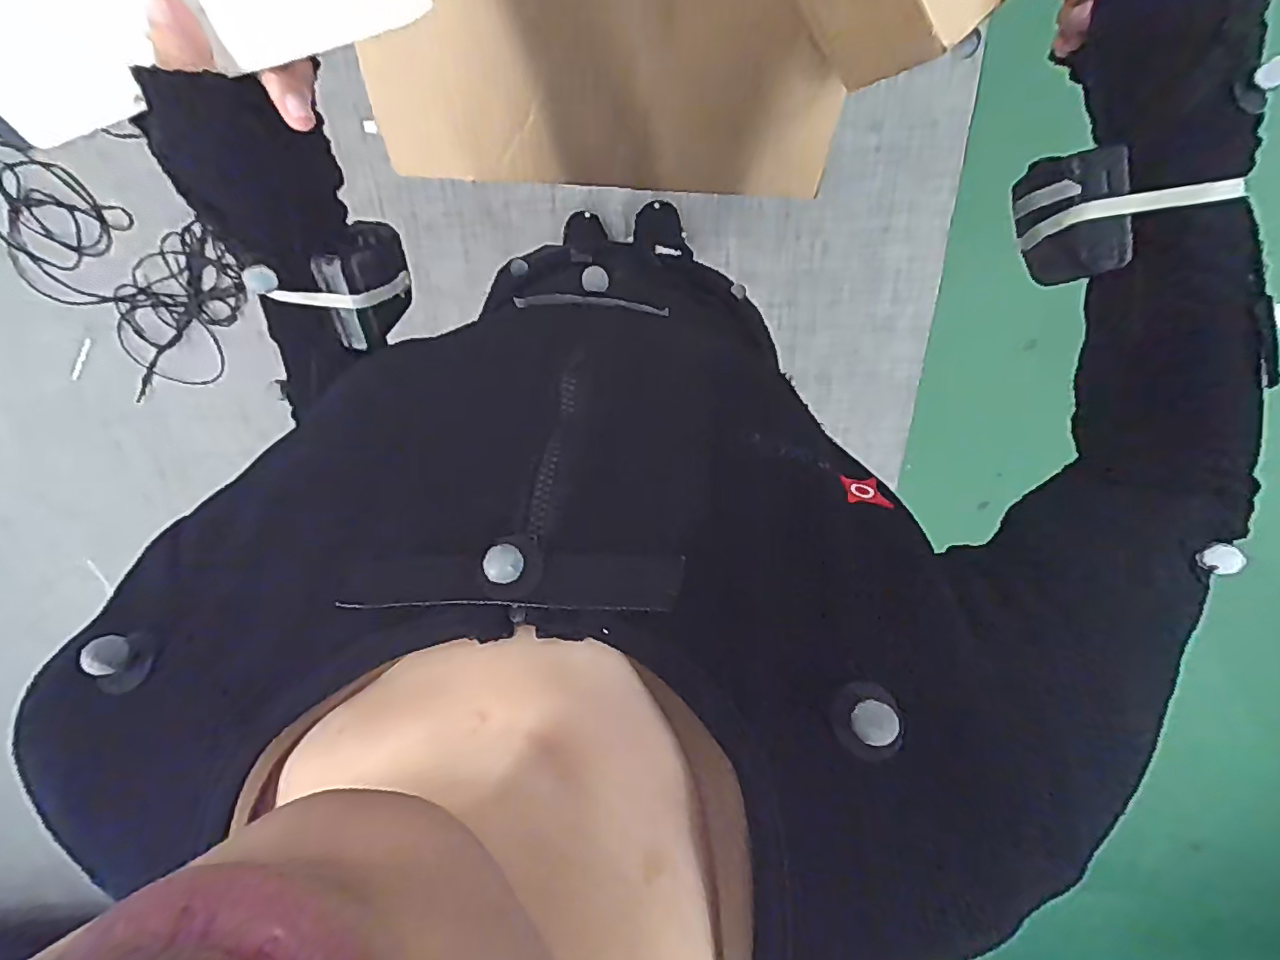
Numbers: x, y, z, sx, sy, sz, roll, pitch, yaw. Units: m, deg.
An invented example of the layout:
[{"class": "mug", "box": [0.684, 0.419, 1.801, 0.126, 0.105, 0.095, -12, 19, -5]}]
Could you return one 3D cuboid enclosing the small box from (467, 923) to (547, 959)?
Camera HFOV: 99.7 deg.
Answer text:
[{"class": "small box", "box": [-0.329, 1.214, 1.317, 0.168, 0.176, 0.179, -5, 119, 1]}]
